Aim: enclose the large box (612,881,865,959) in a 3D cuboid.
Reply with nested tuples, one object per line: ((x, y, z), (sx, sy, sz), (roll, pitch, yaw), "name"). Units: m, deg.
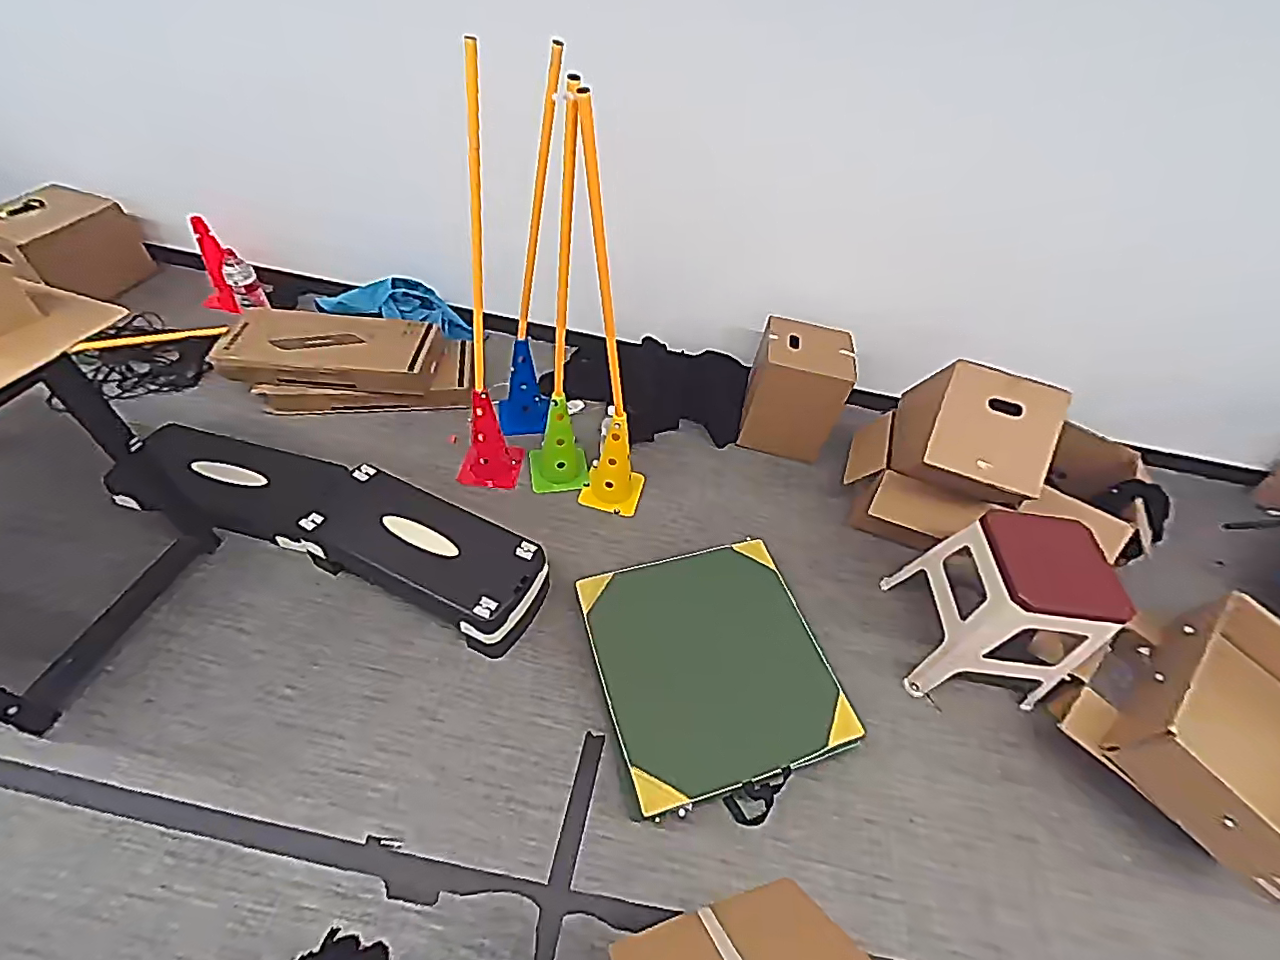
((0.176, 0.794, 0.648), (0.320, 0.408, 0.320), (-10, 82, -15), "large box")
